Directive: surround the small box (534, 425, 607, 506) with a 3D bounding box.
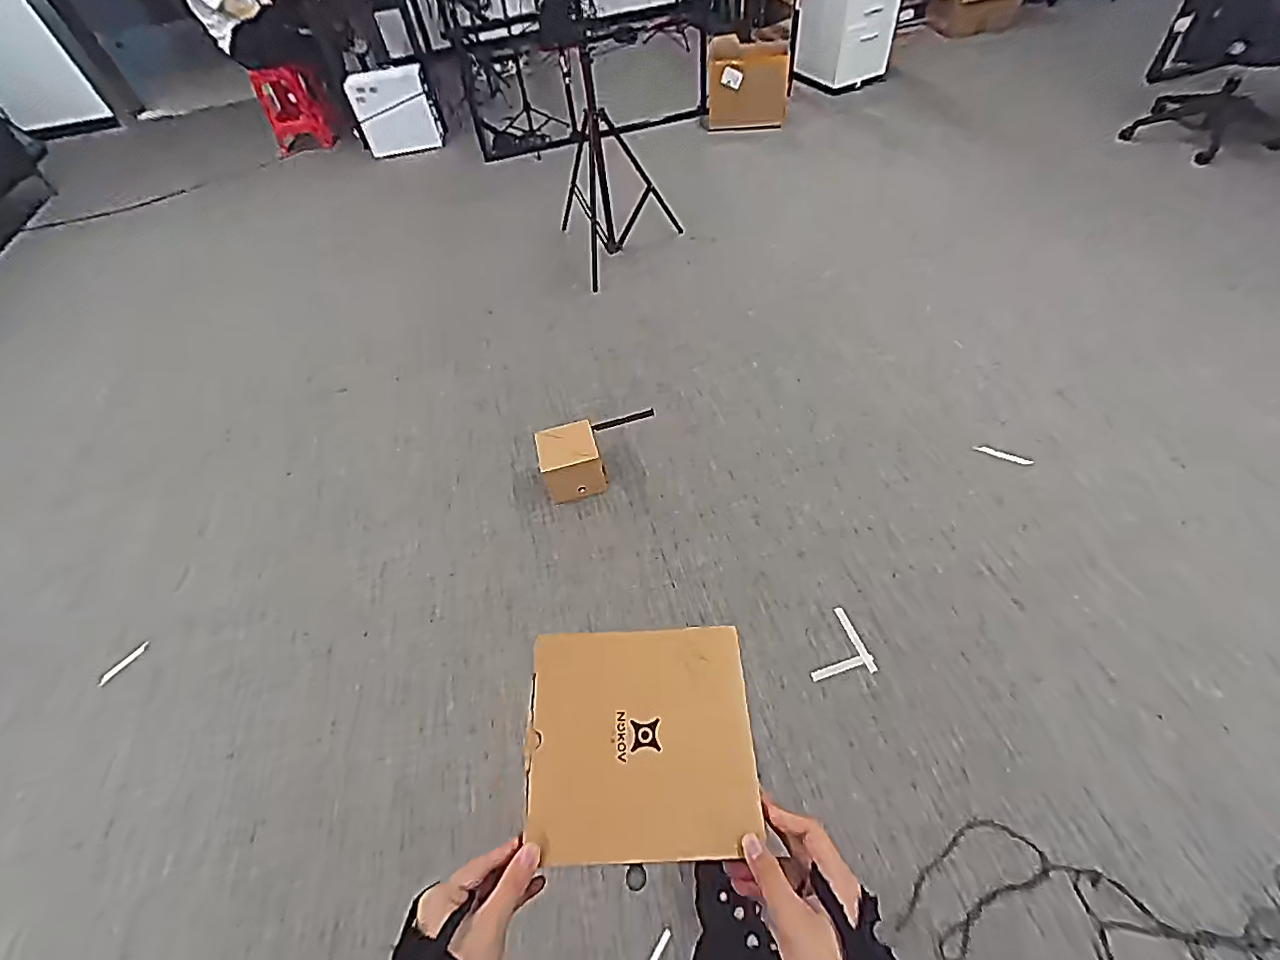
[{"bbox_3d":[-0.215,-0.049,1.682,0.179,0.176,0.168,-15,52,-5],"label":"small box"}]

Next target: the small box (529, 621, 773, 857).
[{"bbox_3d":[0.010,0.236,0.490,0.179,0.176,0.168,-4,57,2],"label":"small box"}]
